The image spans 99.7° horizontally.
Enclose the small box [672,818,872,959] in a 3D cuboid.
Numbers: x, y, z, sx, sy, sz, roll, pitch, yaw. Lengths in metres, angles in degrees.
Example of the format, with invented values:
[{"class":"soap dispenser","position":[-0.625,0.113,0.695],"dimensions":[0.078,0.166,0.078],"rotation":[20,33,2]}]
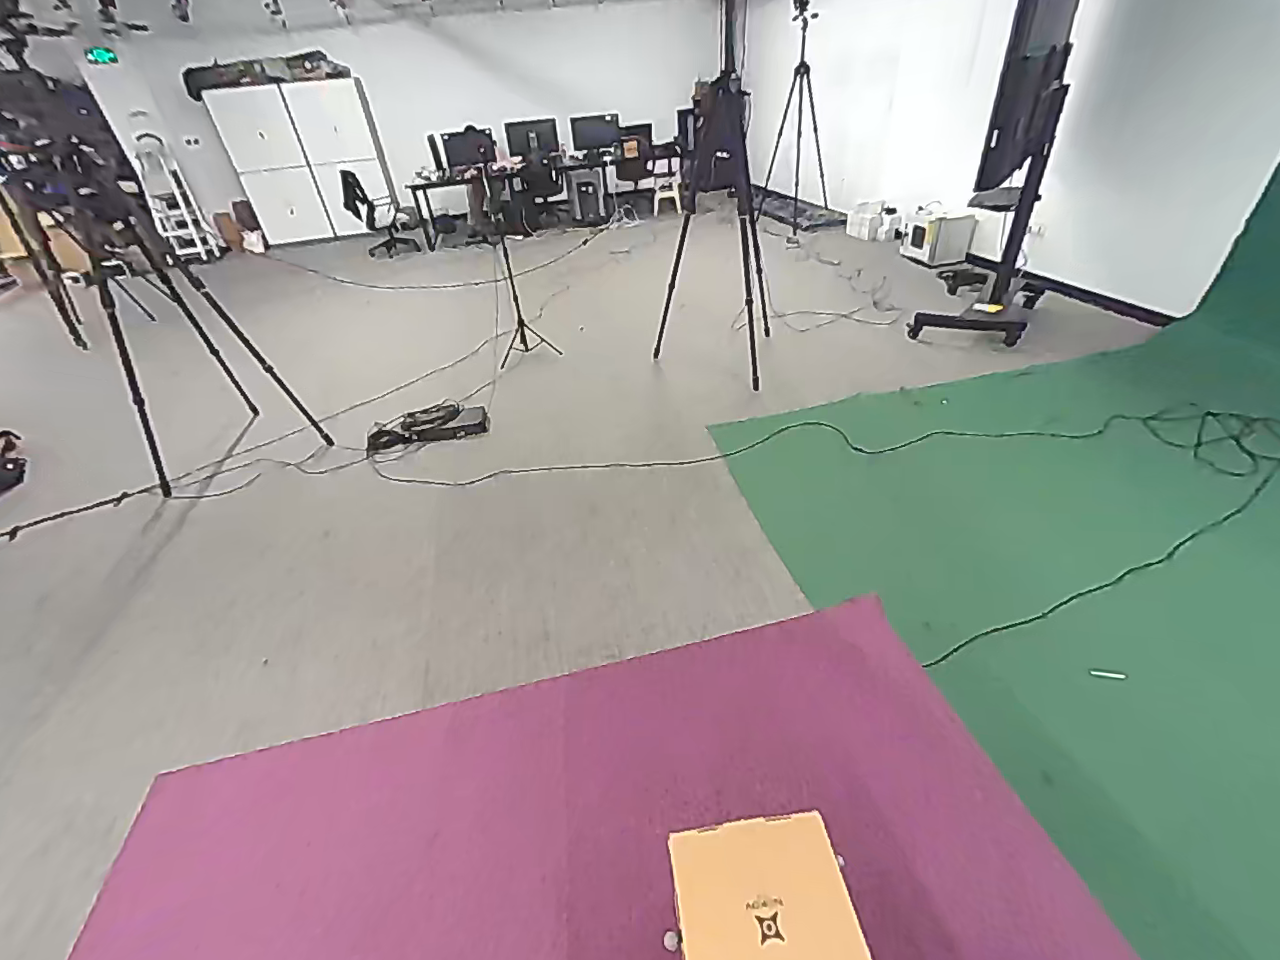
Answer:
[{"class":"small box","position":[0.131,0.482,0.543],"dimensions":[0.168,0.176,0.179],"rotation":[-9,32,-1]}]
